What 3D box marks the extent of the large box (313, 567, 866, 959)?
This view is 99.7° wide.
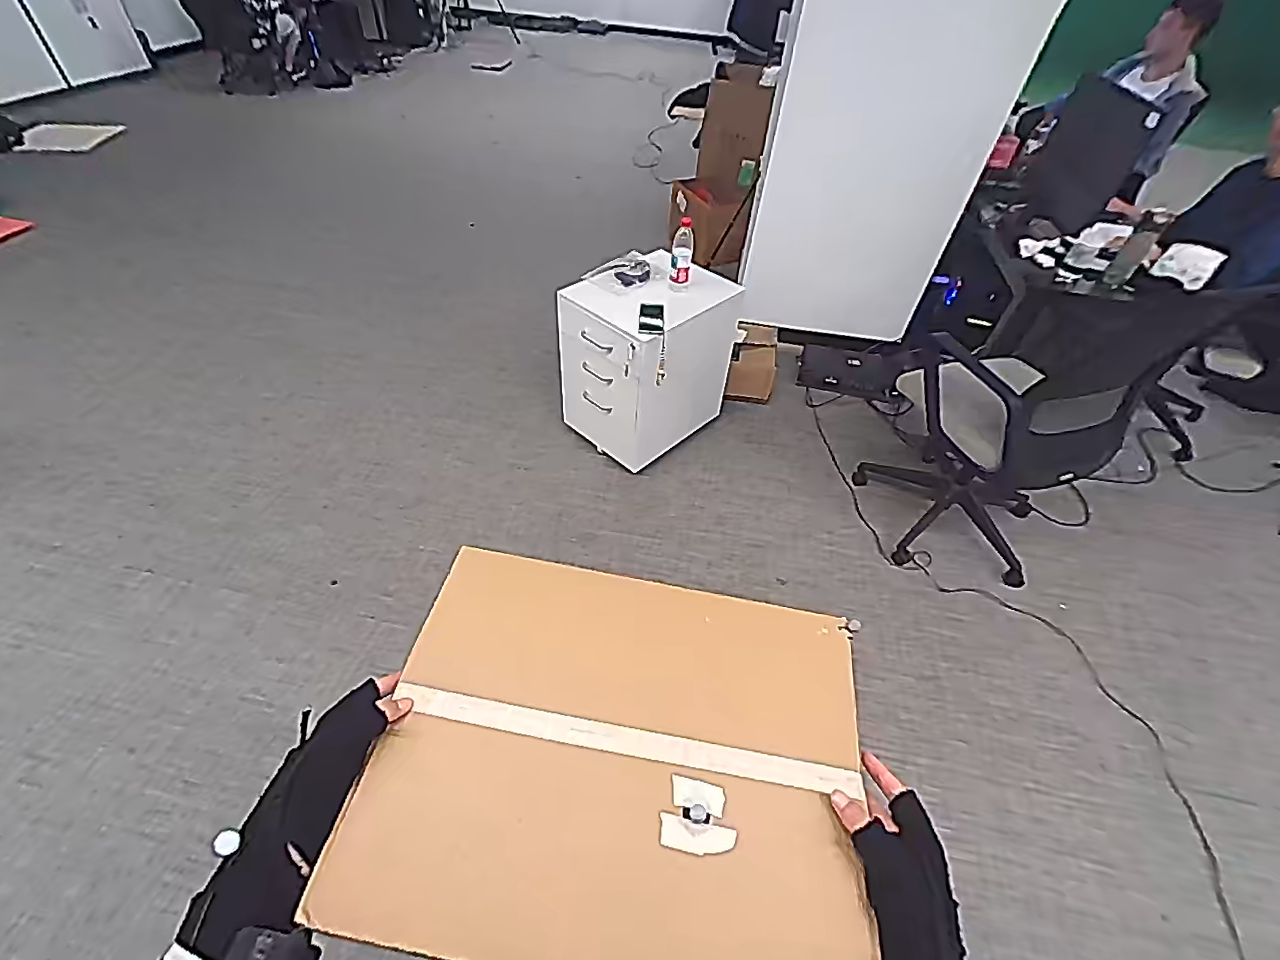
[{"bbox_3d":[-0.030,0.332,0.581,0.408,0.320,0.320,11,50,2],"label":"large box"}]
